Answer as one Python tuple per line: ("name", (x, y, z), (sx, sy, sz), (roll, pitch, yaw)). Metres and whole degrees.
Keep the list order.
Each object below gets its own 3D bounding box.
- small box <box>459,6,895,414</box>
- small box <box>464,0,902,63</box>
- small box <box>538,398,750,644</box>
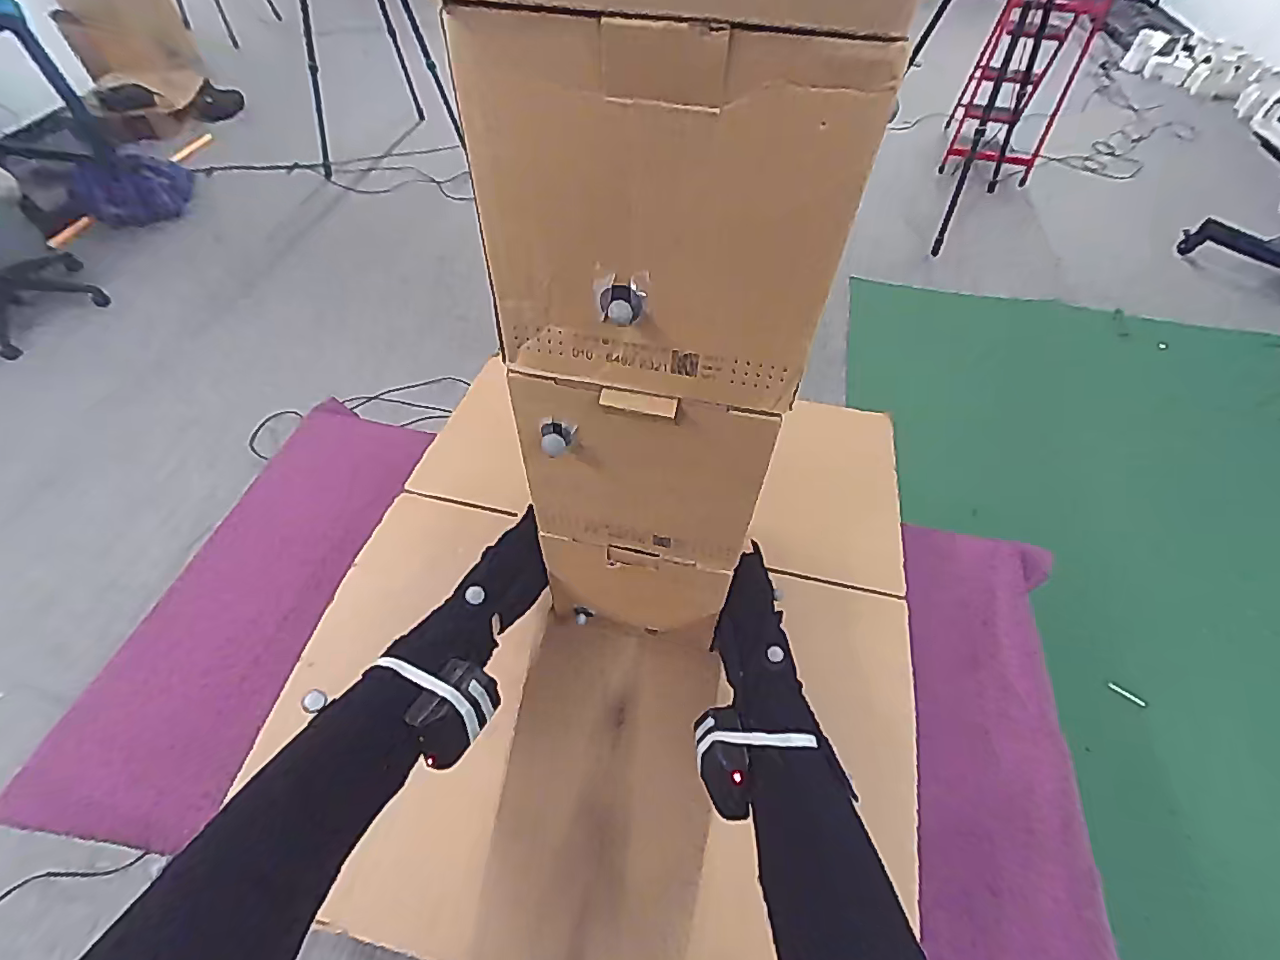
("small box", (0.022, -0.166, 0.309), (0.168, 0.176, 0.179), (10, 51, 5))
("small box", (0.023, -0.270, 0.181), (0.168, 0.176, 0.179), (9, 51, 5))
("small box", (0.010, 0.046, 0.558), (0.168, 0.176, 0.179), (11, 51, 7))
